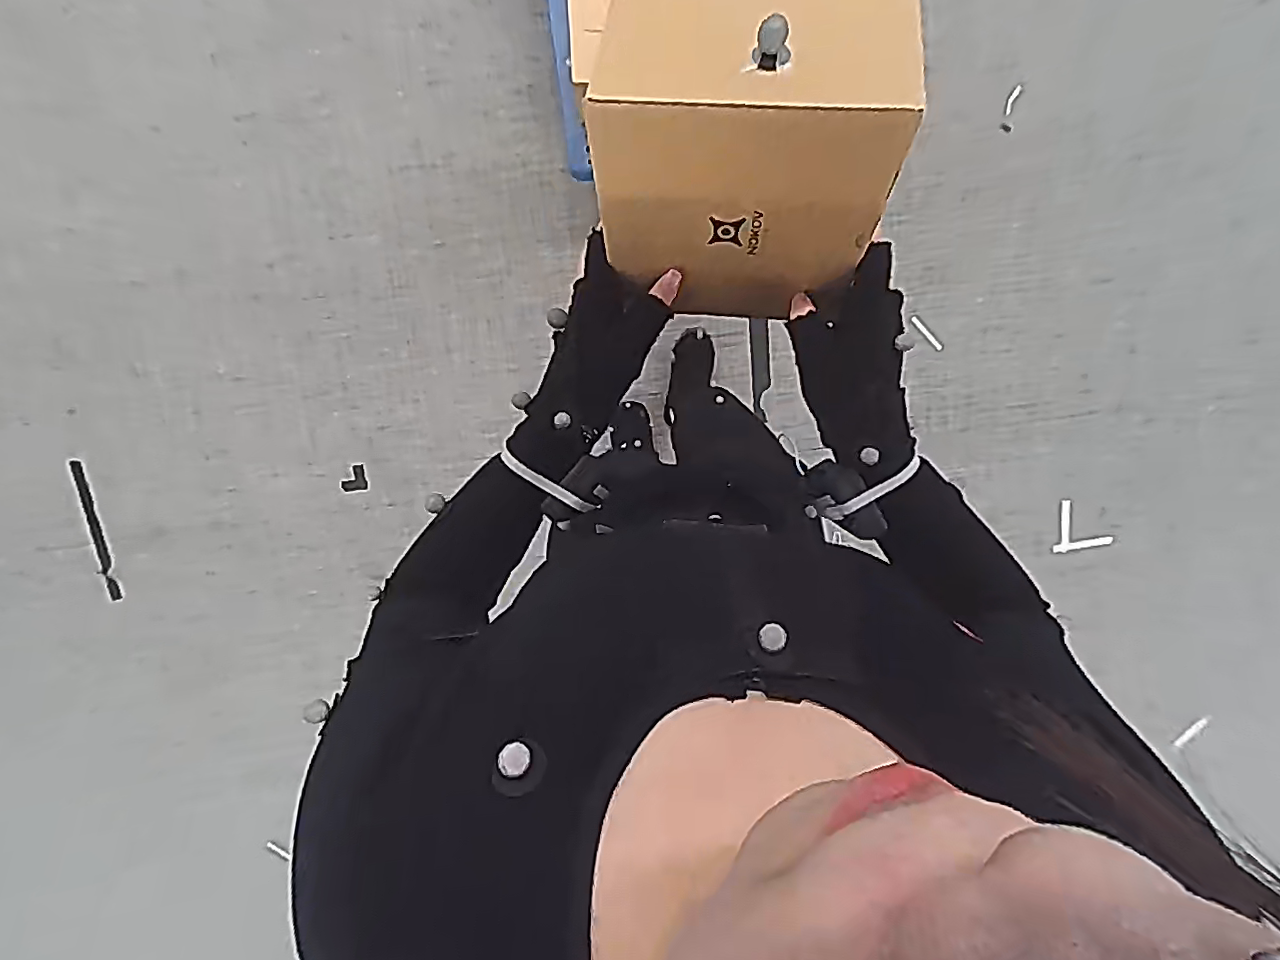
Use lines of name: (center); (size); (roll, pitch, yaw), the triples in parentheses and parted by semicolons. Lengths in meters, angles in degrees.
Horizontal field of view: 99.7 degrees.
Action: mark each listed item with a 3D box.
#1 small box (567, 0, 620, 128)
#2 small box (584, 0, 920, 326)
small box: (-0.043, -0.806, 1.045); (0.179, 0.176, 0.168); (-3, 102, -1)
small box: (0.070, -0.234, 0.382); (0.179, 0.168, 0.176); (5, 68, 6)
